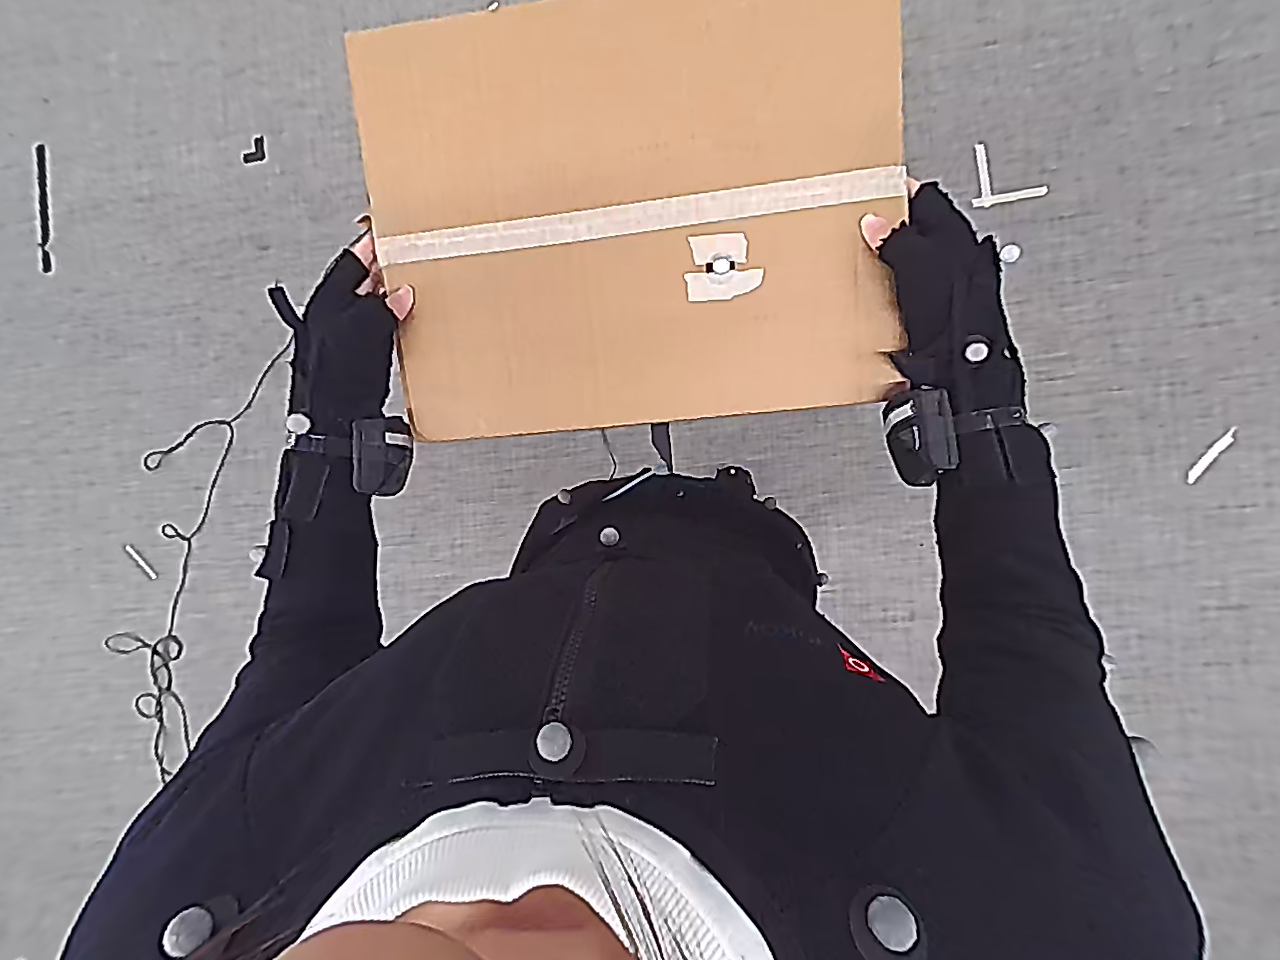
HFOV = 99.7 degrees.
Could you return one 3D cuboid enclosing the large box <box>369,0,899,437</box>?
[{"bbox_3d":[0.007,-0.231,0.576,0.408,0.320,0.320,-5,100,6],"label":"large box"}]
